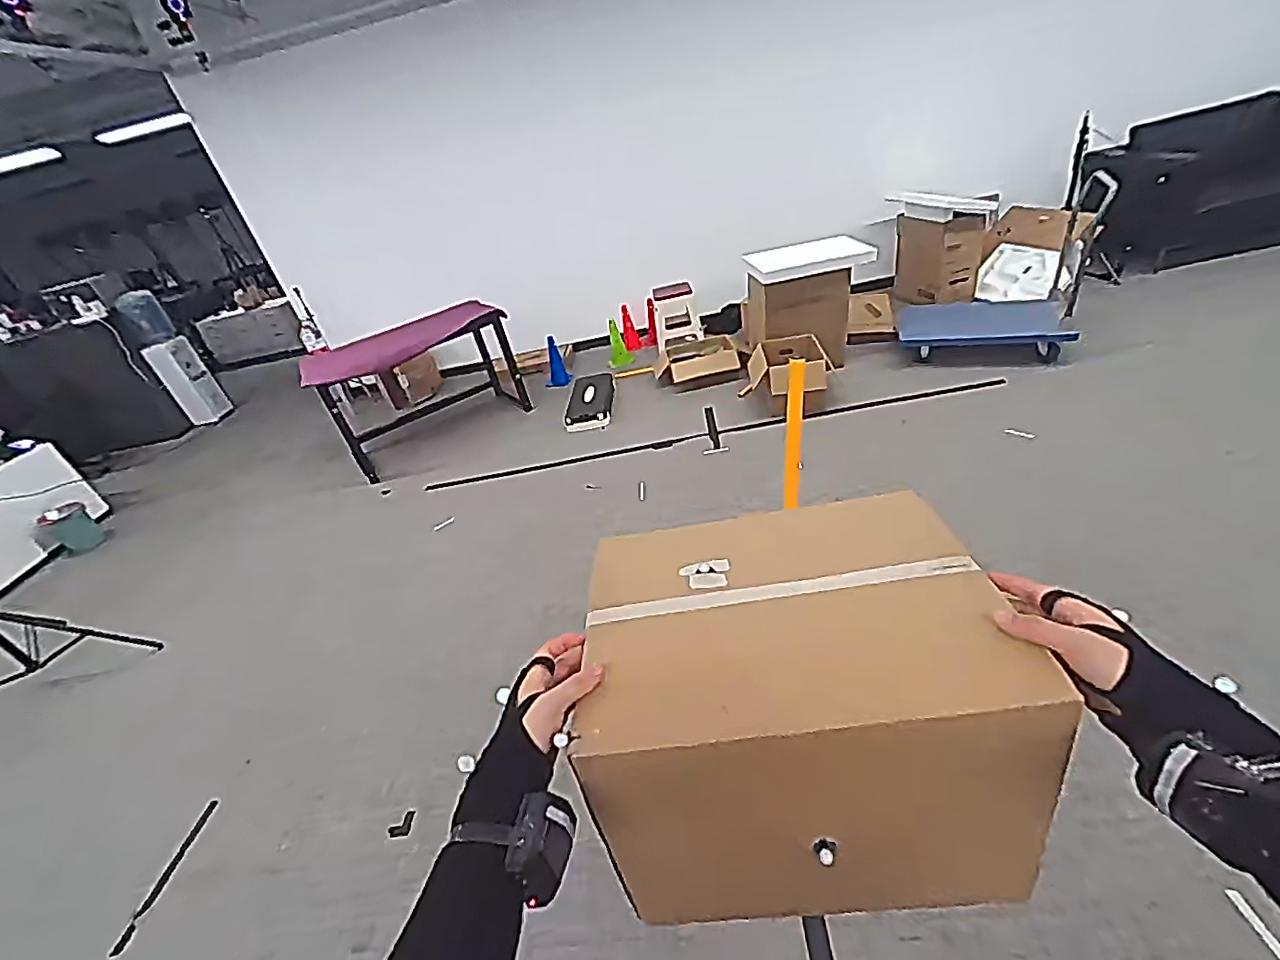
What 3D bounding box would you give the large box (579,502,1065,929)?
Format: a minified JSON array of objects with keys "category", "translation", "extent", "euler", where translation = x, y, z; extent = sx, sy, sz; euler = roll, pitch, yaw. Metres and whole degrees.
[{"category":"large box","translation":[0.174,0.265,0.639],"extent":[0.408,0.320,0.320],"euler":[-11,27,7]}]
